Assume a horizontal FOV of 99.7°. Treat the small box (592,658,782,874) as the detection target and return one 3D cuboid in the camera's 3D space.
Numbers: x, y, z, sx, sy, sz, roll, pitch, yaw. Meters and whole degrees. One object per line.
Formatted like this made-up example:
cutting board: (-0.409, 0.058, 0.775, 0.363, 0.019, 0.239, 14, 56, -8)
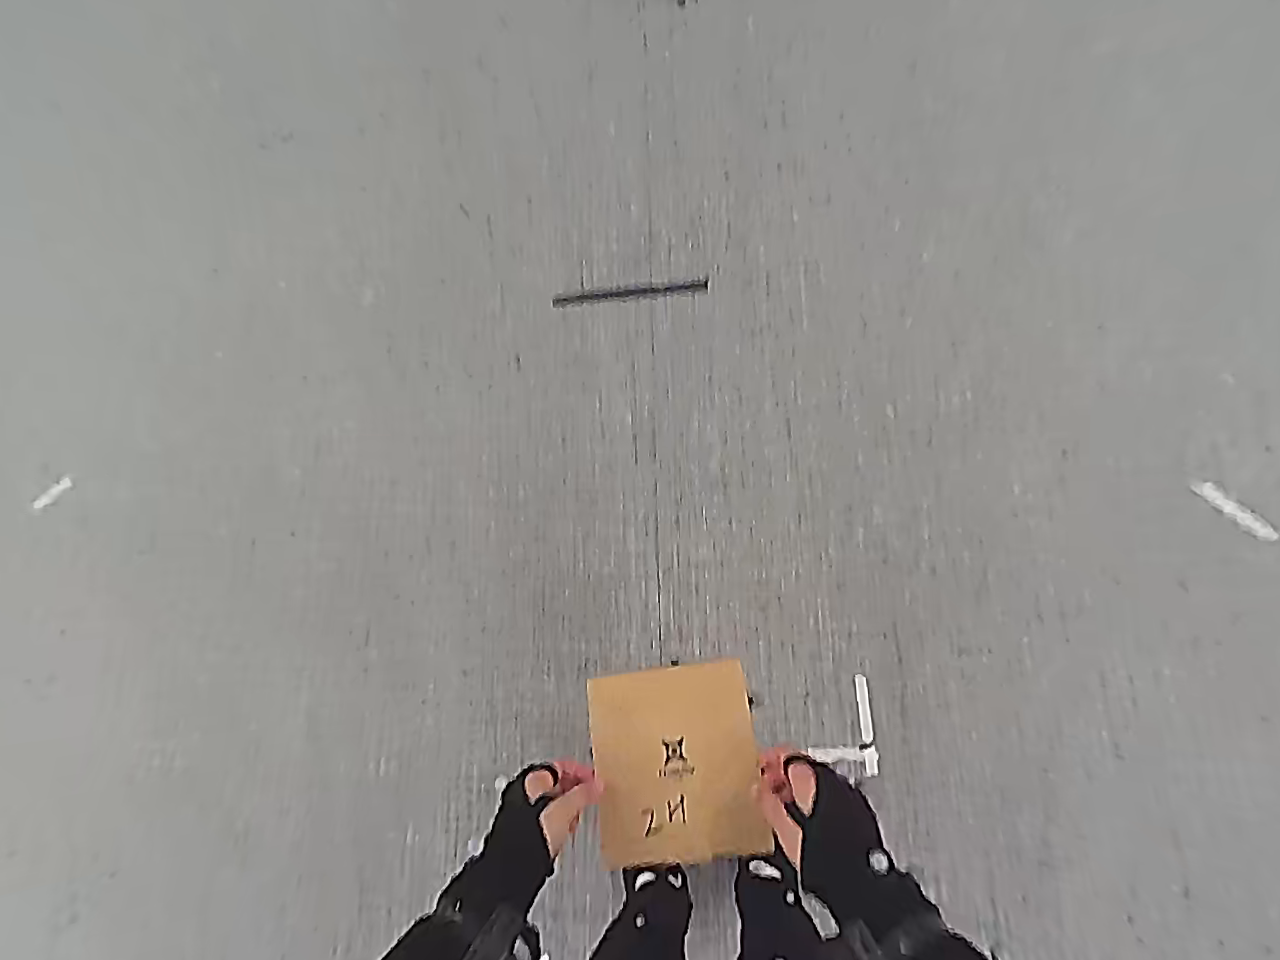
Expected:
small box: (0.050, 0.296, 0.595, 0.168, 0.176, 0.179, -9, 72, 6)
